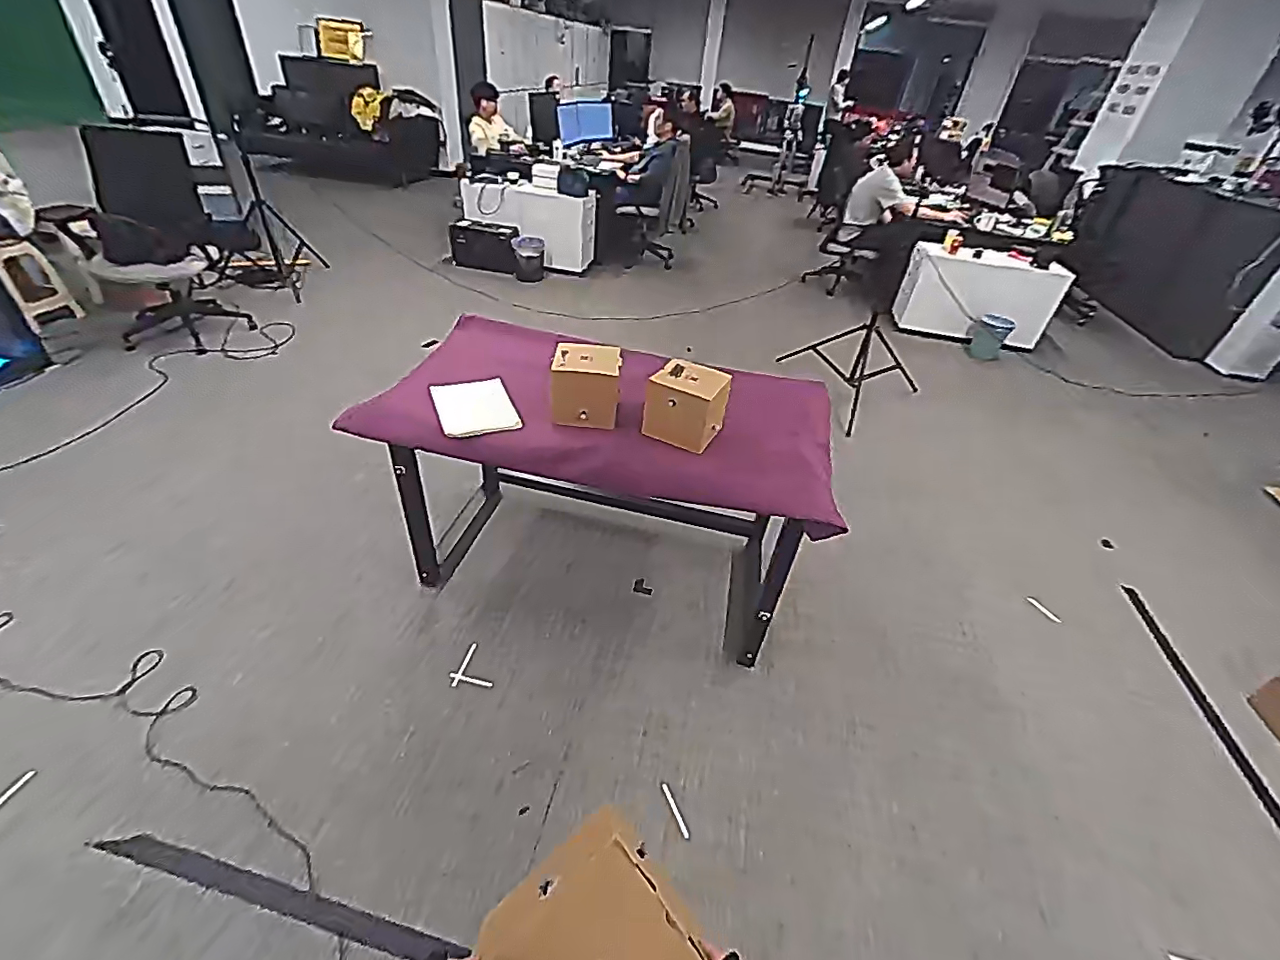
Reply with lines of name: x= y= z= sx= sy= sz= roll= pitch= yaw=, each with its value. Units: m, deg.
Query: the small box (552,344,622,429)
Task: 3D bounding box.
small box: x=-0.146 y=-0.256 z=1.495 sx=0.179 sy=0.176 sz=0.168 roll=5 pitch=37 yaw=-3

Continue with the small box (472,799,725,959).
small box: x=-0.043 y=0.452 z=0.531 sx=0.179 sy=0.176 sz=0.168 roll=-38 pitch=76 yaw=-18

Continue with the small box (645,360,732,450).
small box: x=0.127 y=-0.202 z=1.462 sx=0.179 sy=0.176 sz=0.168 roll=21 pitch=39 yaw=18
